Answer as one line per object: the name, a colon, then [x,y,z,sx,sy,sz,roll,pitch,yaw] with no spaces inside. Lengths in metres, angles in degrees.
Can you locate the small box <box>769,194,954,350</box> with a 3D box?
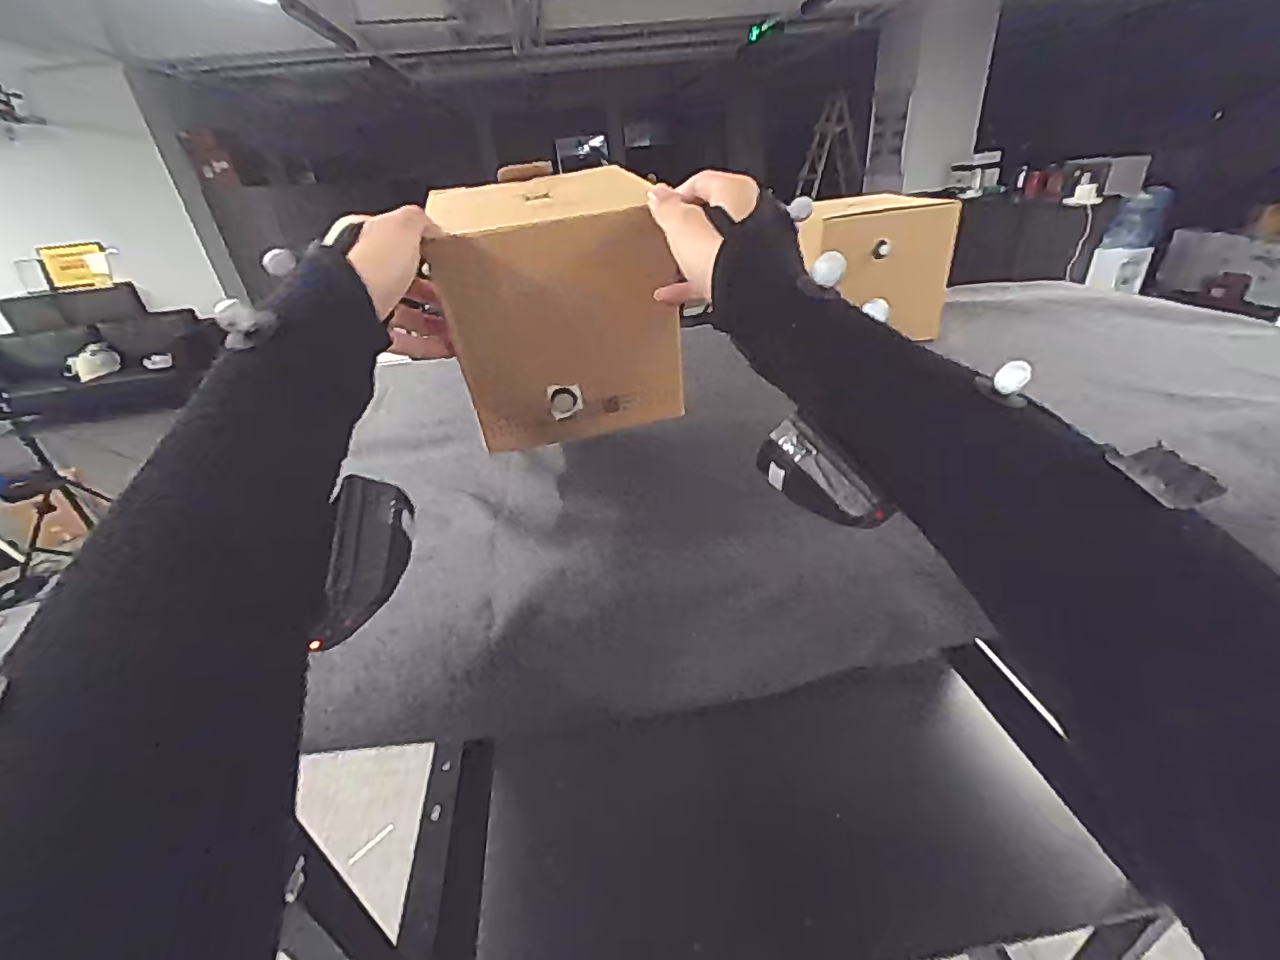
small box: [0.286,-0.285,0.739,0.179,0.176,0.168,-9,31,-4]

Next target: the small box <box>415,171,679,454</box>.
small box: [-0.071,-0.145,0.453,0.168,0.176,0.179,-14,38,-8]
